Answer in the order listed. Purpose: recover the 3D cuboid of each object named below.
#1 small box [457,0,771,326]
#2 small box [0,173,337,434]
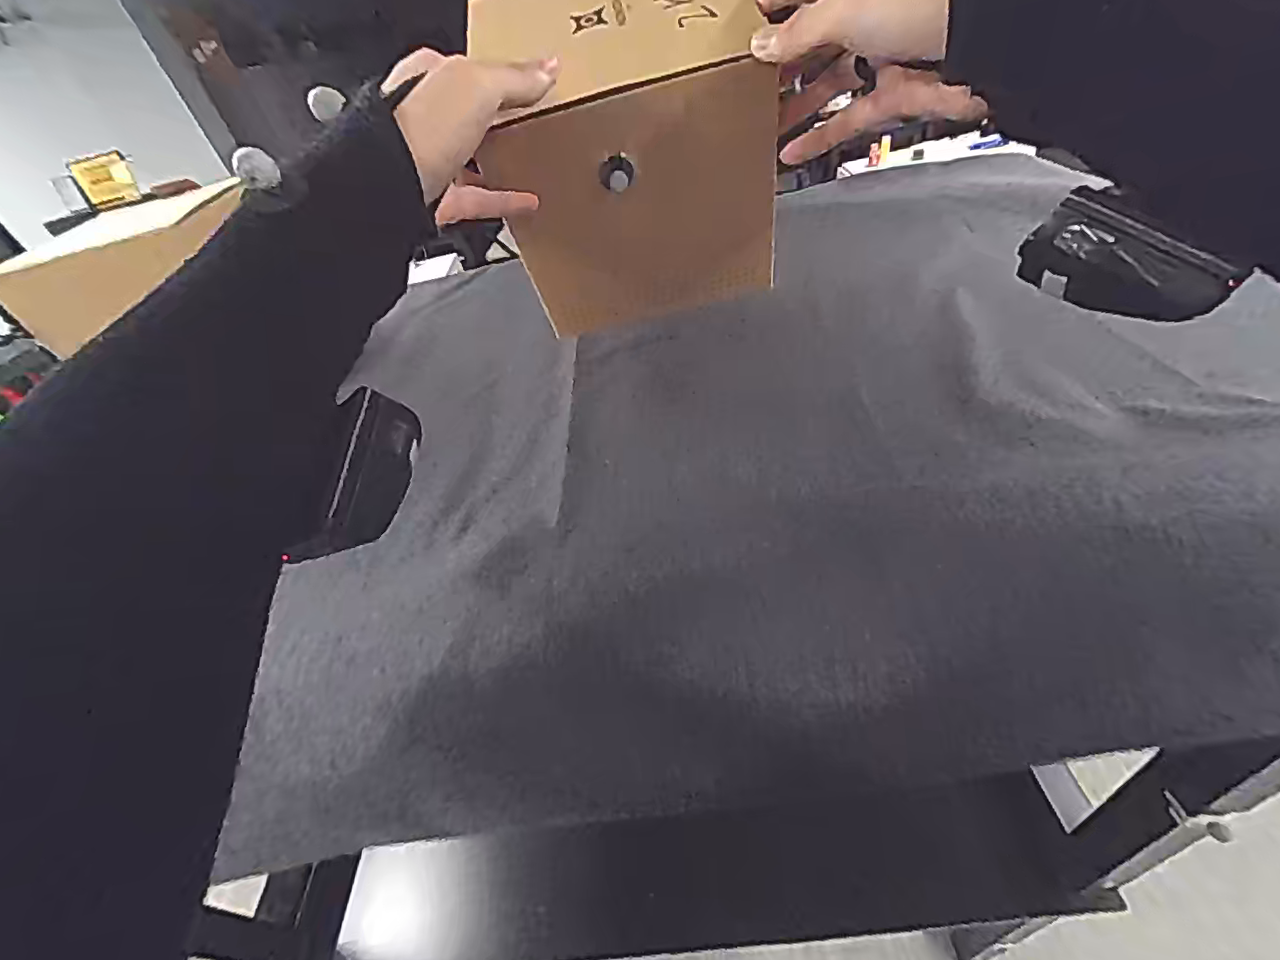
[{"bbox_3d":[-0.009,-0.237,0.391,0.179,0.176,0.168,-11,61,6],"label":"small box"},{"bbox_3d":[-0.433,-0.172,0.528,0.168,0.176,0.179,-15,42,2],"label":"small box"}]
